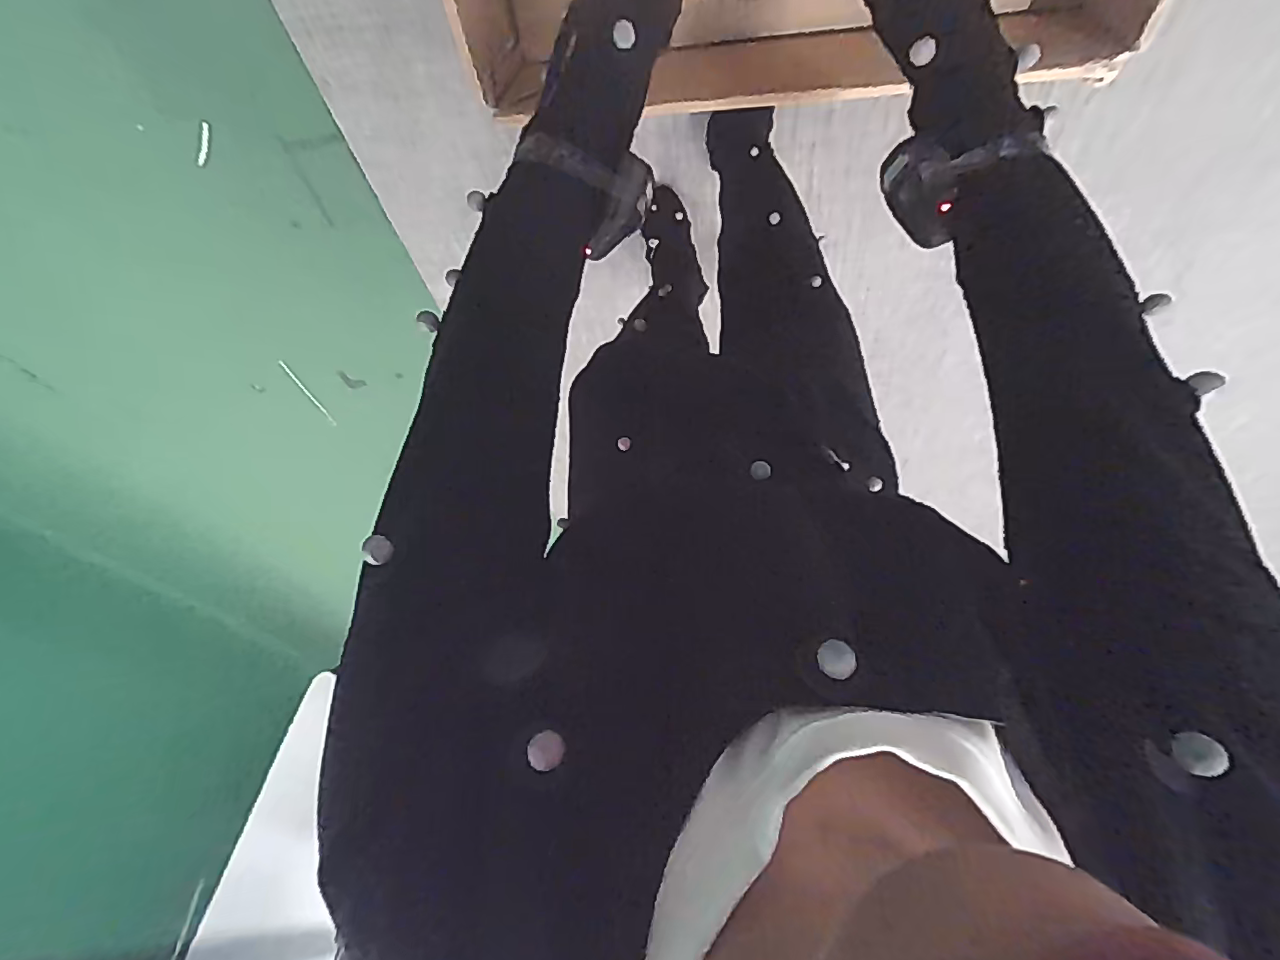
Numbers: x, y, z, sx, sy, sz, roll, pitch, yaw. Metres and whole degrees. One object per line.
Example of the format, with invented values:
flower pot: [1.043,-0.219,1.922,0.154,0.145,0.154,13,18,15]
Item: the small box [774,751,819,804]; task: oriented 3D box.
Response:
small box: [0.660,1.253,2.282,0.179,0.176,0.168,-1,144,16]
